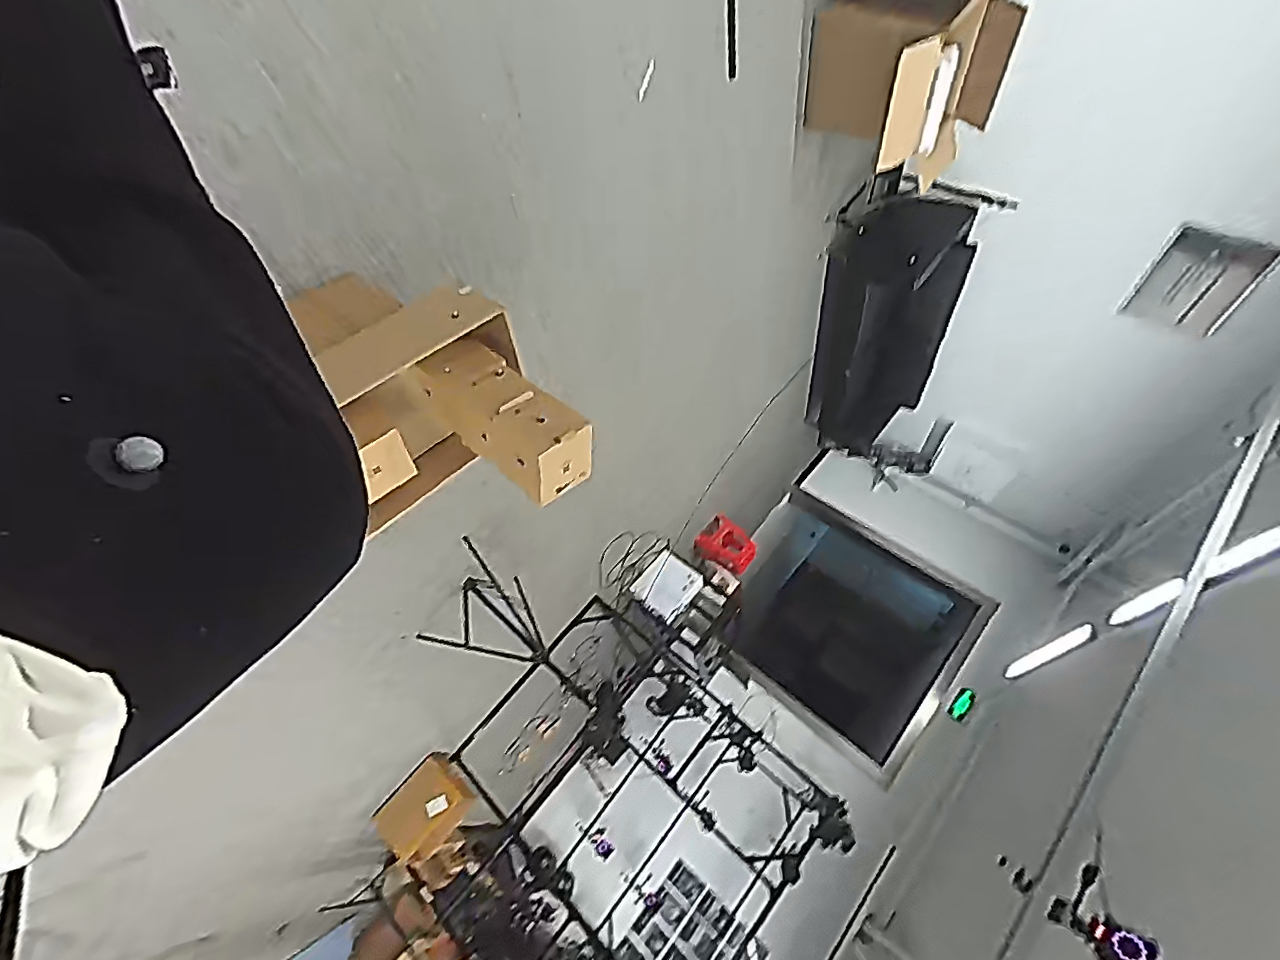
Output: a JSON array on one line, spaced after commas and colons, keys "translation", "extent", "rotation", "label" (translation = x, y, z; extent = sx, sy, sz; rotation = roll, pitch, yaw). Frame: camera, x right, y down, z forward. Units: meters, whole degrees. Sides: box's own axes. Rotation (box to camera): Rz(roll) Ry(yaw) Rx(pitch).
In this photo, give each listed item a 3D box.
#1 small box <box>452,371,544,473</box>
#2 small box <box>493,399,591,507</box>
[{"translation": [-0.356, -0.156, 1.379], "extent": [0.168, 0.176, 0.179], "rotation": [-37, 150, -32], "label": "small box"}, {"translation": [-0.236, -0.074, 1.301], "extent": [0.168, 0.176, 0.179], "rotation": [-35, 147, -35], "label": "small box"}]
